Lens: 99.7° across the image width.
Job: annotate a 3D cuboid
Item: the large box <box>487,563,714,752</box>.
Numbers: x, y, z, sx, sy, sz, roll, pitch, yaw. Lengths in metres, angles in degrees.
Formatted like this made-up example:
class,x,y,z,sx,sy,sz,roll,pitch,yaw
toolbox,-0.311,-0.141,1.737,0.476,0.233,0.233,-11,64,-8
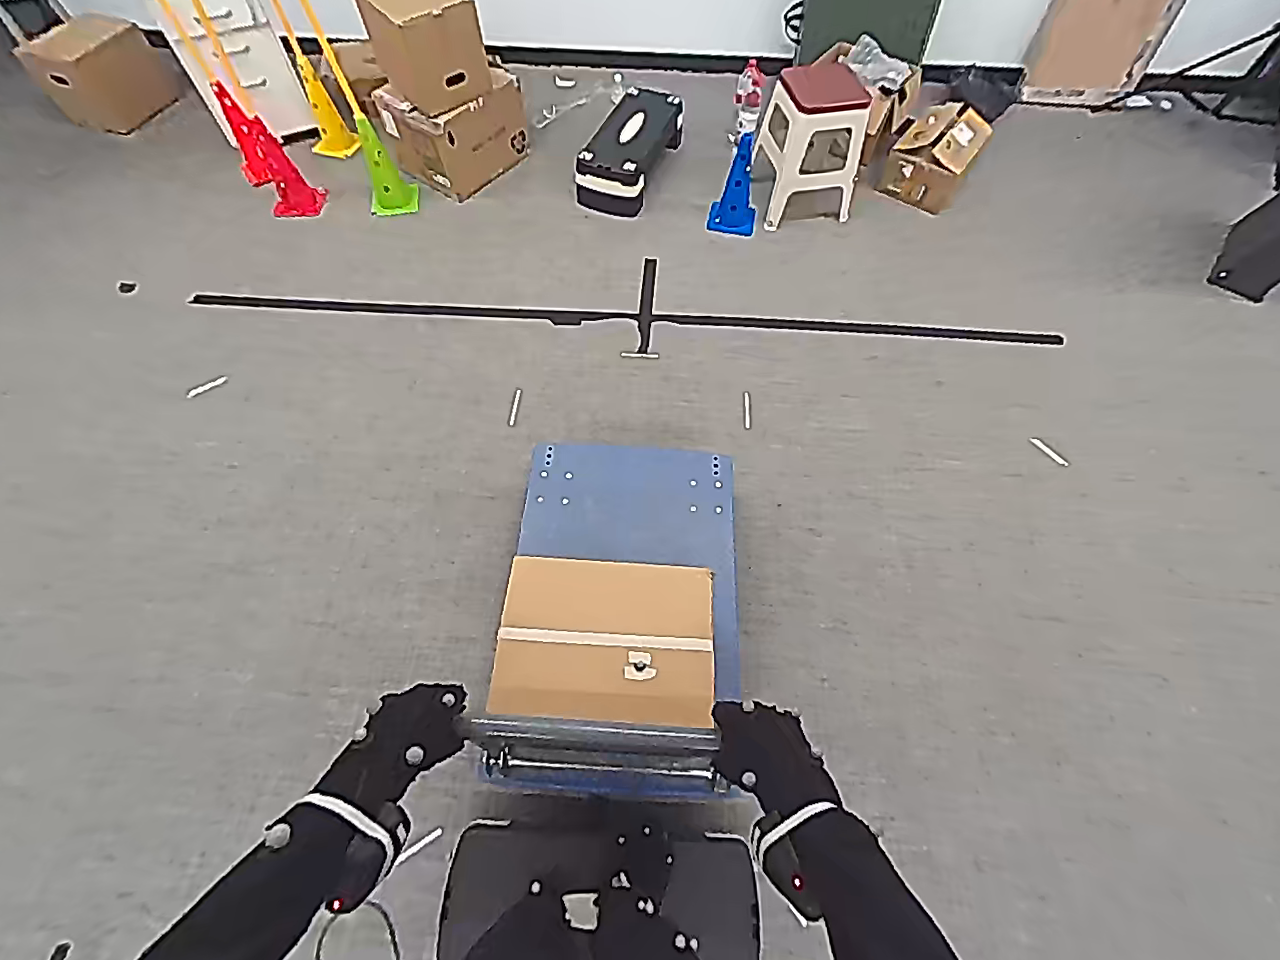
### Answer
class,x,y,z,sx,sy,sz,roll,pitch,yaw
large box,-0.070,0.384,1.139,0.408,0.320,0.320,4,61,0
